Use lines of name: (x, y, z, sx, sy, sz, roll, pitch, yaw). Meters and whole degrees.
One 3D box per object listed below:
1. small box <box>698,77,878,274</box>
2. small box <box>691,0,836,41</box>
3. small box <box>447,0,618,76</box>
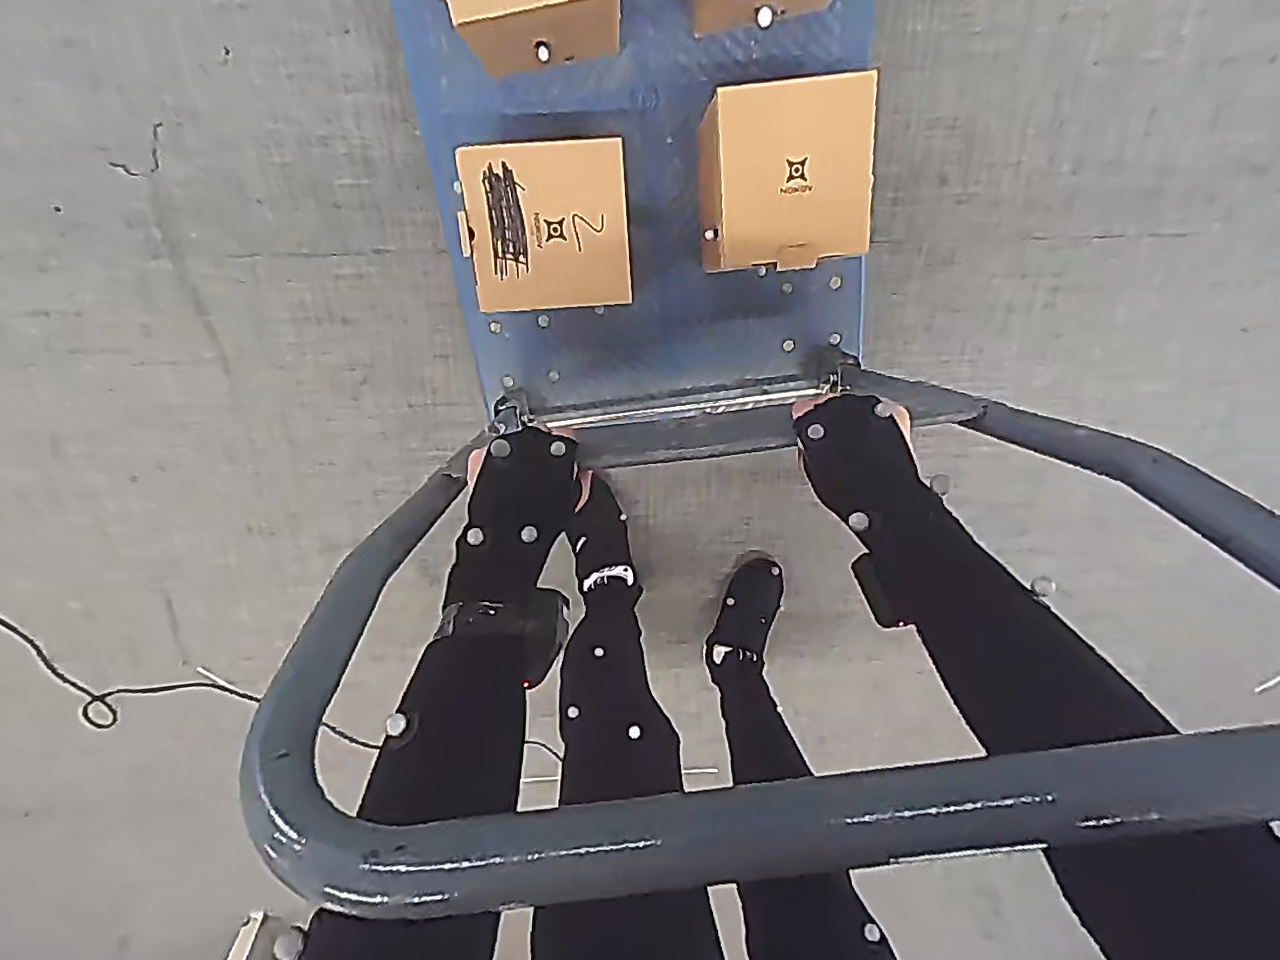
small box: (0.165, -0.348, 0.651, 0.168, 0.176, 0.179, -6, 111, 0)
small box: (0.134, -0.599, 0.553, 0.168, 0.176, 0.179, -10, 112, 3)
small box: (-0.115, -0.553, 0.562, 0.168, 0.176, 0.179, -10, 111, 1)
